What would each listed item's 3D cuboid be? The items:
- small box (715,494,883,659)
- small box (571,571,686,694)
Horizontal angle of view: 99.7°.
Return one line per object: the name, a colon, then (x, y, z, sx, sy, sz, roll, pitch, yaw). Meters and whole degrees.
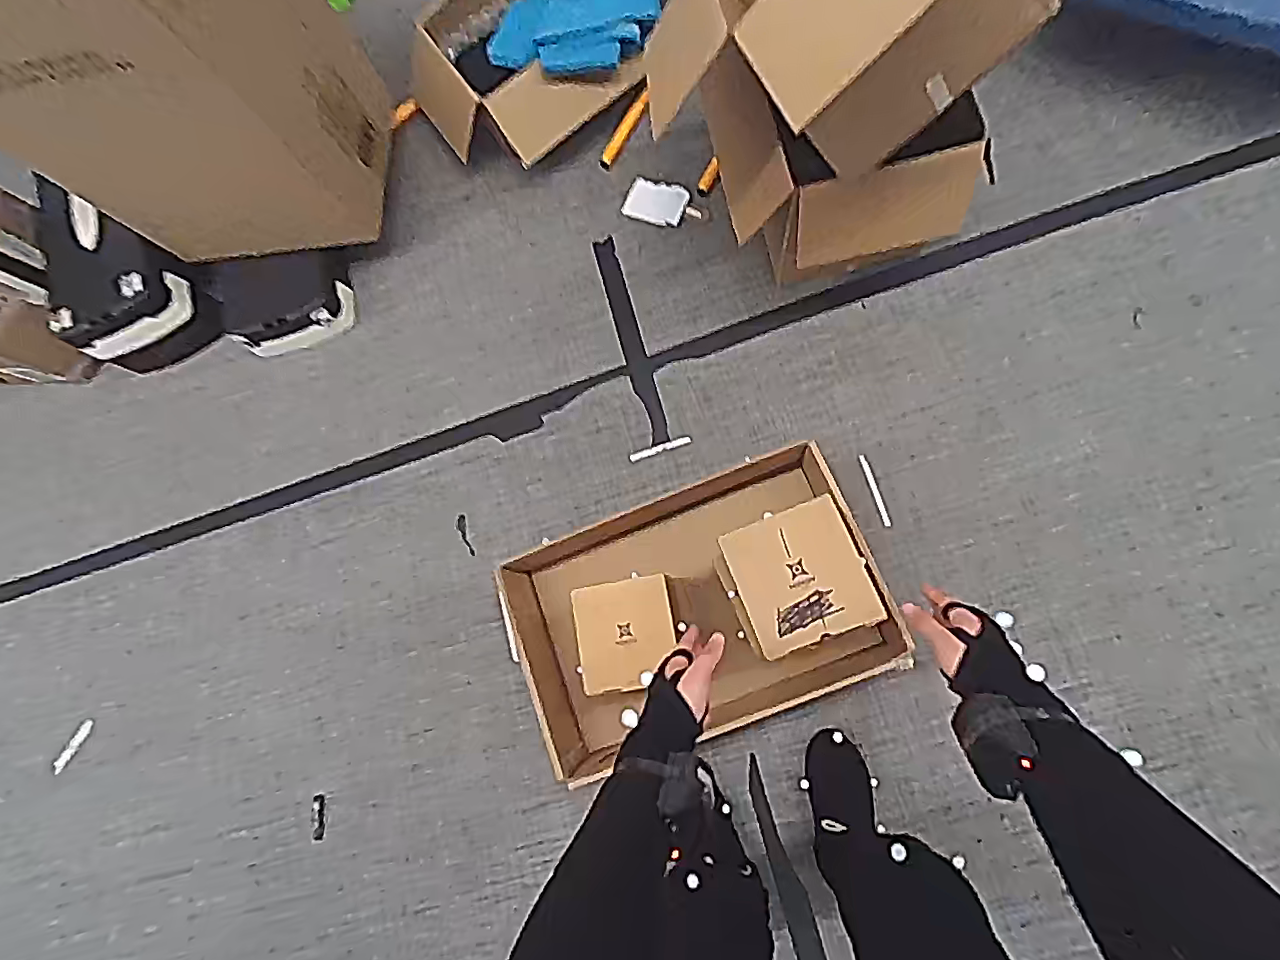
small box: (0.219, 0.139, 0.783, 0.168, 0.176, 0.179, -22, 75, 5)
small box: (-0.015, 0.268, 0.968, 0.168, 0.176, 0.179, -12, 77, 5)
